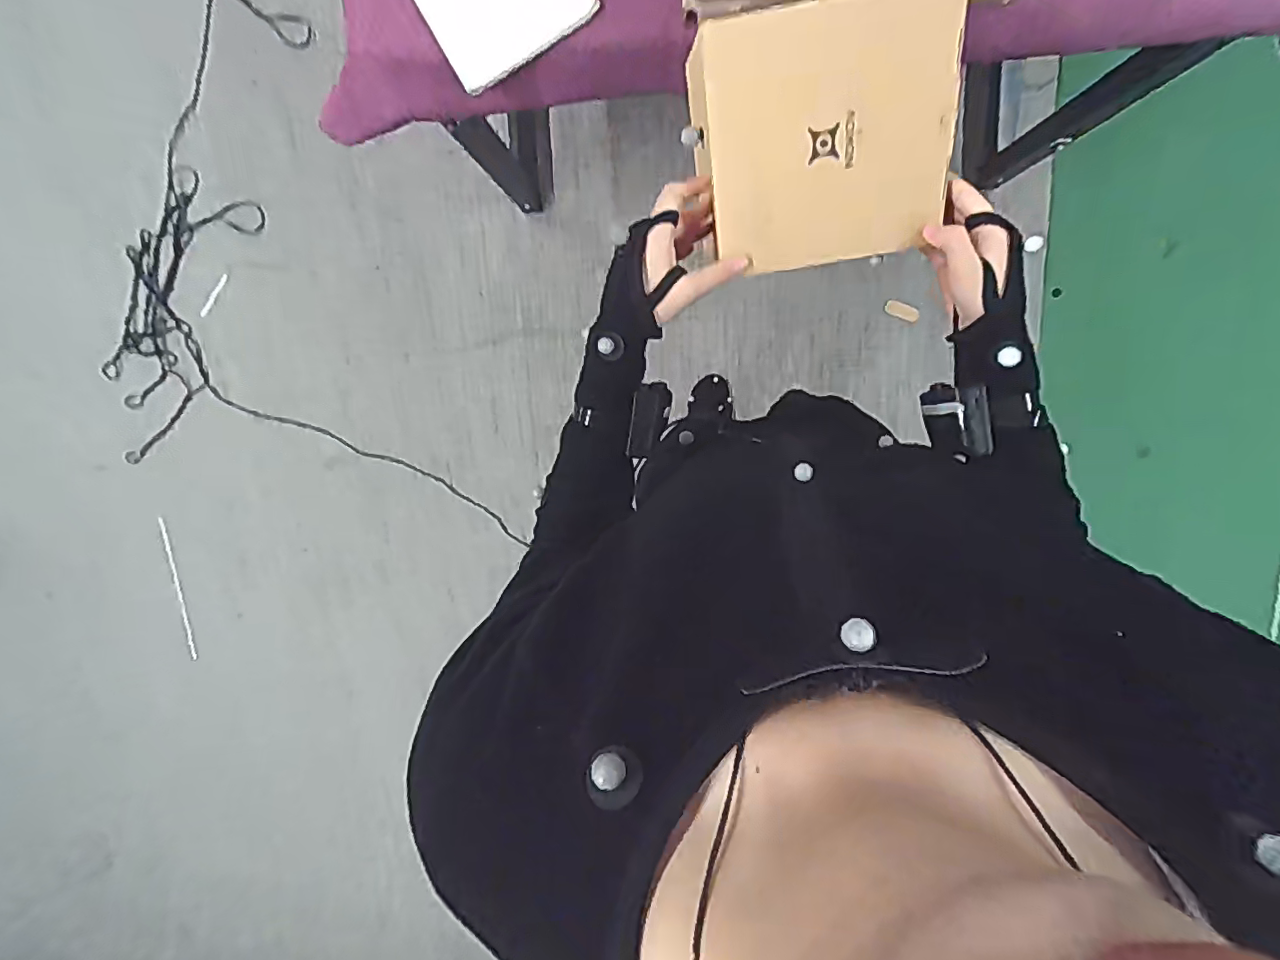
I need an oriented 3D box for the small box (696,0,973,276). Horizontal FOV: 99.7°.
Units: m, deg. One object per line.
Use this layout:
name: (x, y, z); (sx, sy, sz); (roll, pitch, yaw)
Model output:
small box: (0.142, -0.282, 0.457); (0.179, 0.176, 0.168); (-8, 119, 6)
